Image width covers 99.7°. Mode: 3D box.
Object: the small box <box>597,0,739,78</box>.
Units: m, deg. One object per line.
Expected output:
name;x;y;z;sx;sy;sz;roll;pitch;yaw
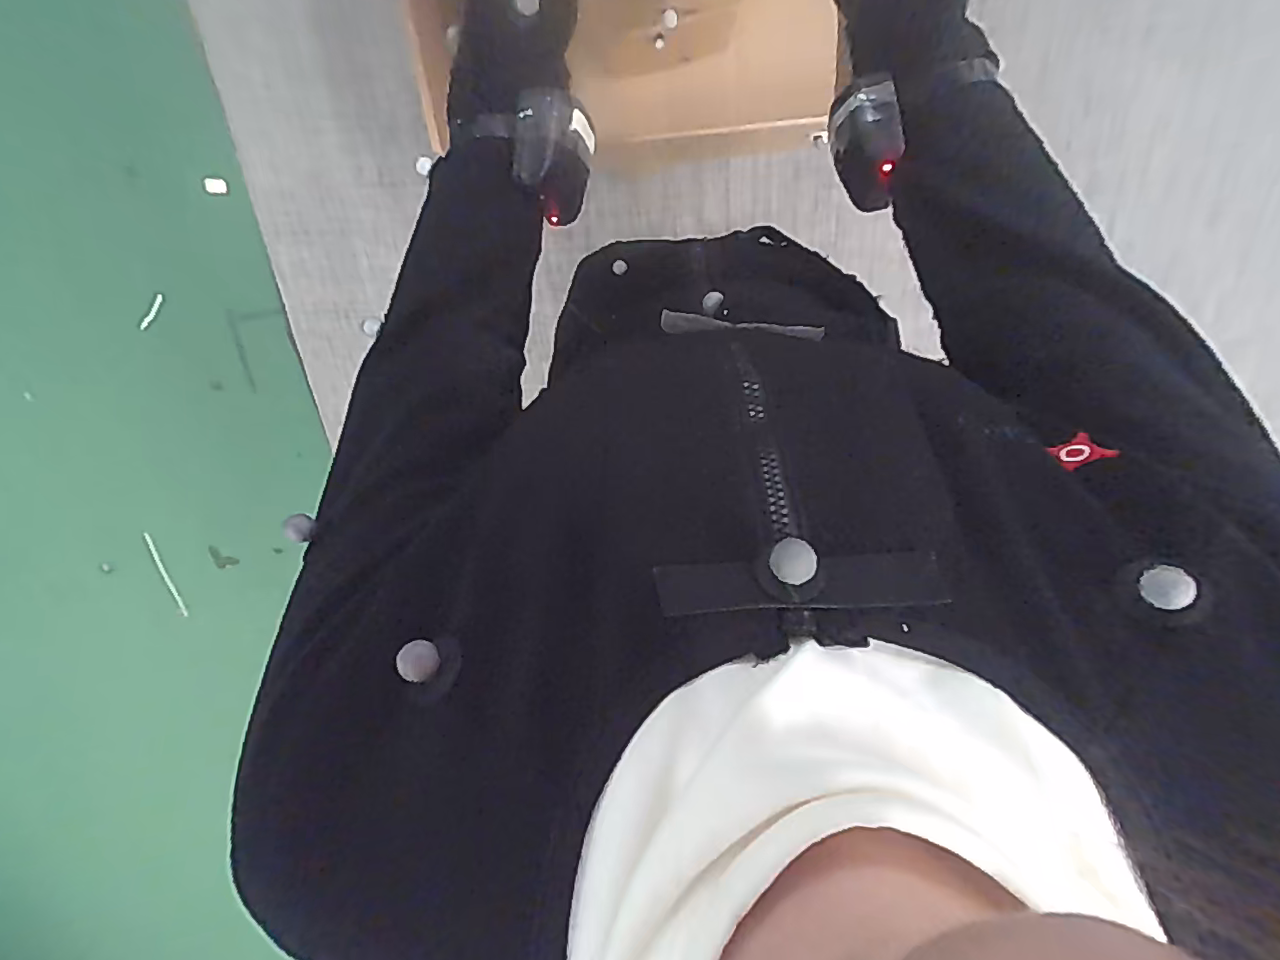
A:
small box;0.024;-0.644;0.674;0.168;0.176;0.179;-9;113;7
